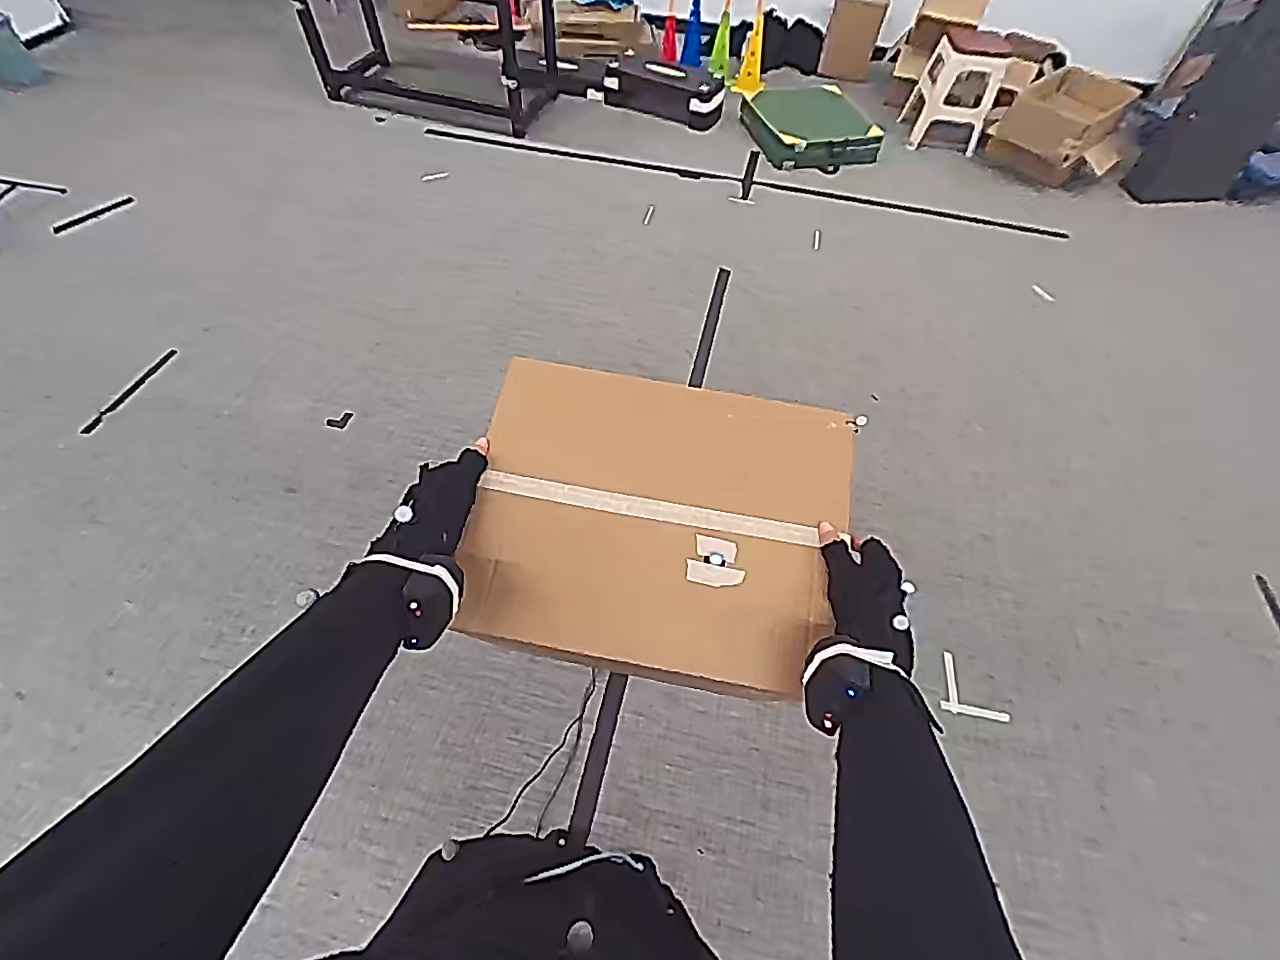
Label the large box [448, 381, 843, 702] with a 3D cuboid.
[{"bbox_3d":[0.016,0.104,0.733,0.408,0.320,0.320,10,69,2],"label":"large box"}]
